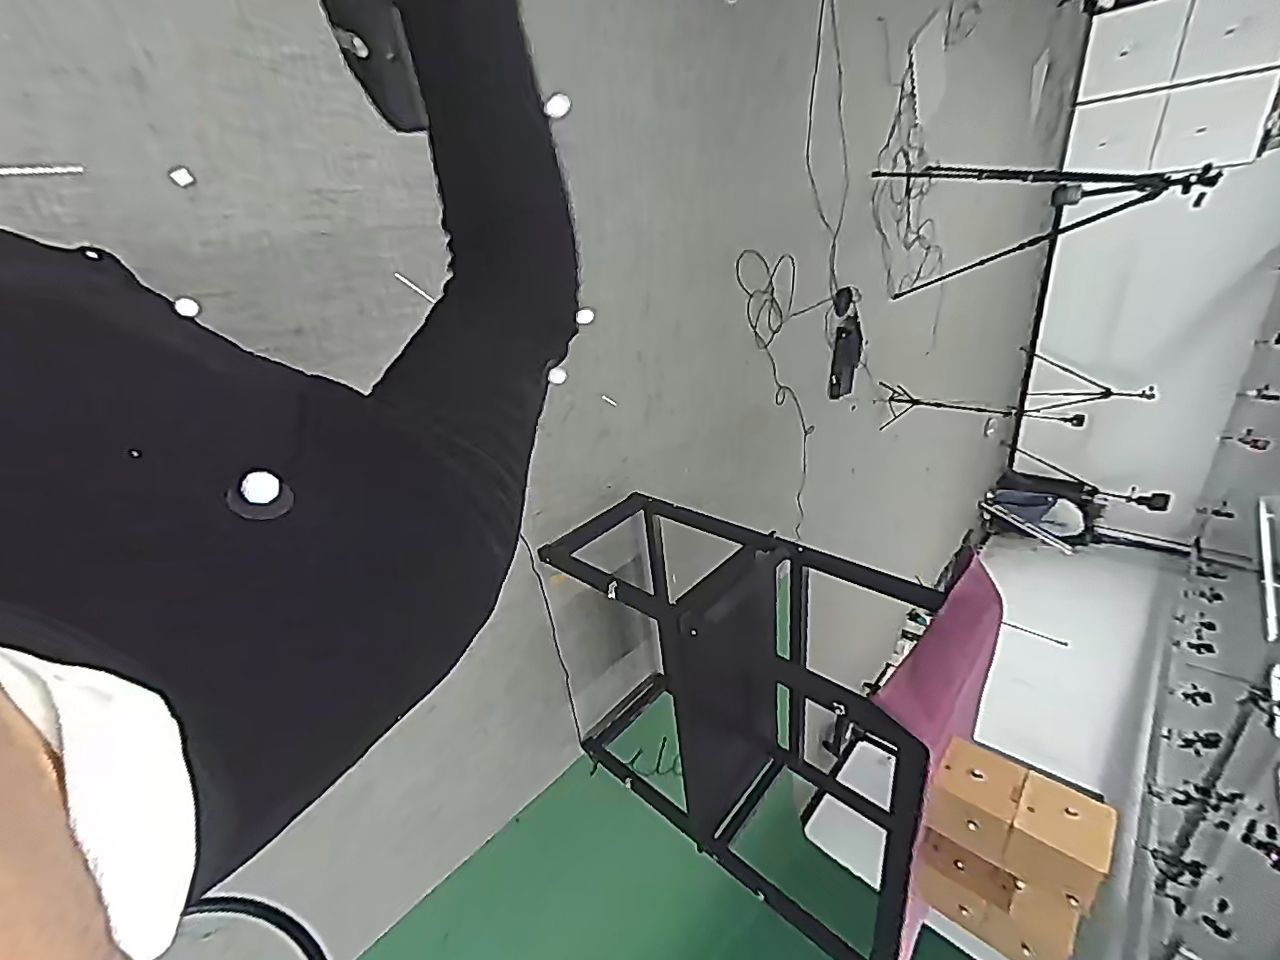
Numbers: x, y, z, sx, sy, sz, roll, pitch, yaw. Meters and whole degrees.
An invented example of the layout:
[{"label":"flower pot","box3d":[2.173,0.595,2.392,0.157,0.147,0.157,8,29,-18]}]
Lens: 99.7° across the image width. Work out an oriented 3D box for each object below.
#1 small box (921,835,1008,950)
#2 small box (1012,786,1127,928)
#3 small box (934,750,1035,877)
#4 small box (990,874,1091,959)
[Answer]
[{"label":"small box","box3d":[0.870,1.081,1.449,0.168,0.176,0.179,-30,123,-38]},{"label":"small box","box3d":[0.954,0.828,1.211,0.168,0.176,0.179,-33,126,-38]},{"label":"small box","box3d":[0.833,0.797,1.316,0.168,0.176,0.179,-31,123,-38]},{"label":"small box","box3d":[0.988,1.115,1.341,0.168,0.176,0.179,-31,122,-38]}]
